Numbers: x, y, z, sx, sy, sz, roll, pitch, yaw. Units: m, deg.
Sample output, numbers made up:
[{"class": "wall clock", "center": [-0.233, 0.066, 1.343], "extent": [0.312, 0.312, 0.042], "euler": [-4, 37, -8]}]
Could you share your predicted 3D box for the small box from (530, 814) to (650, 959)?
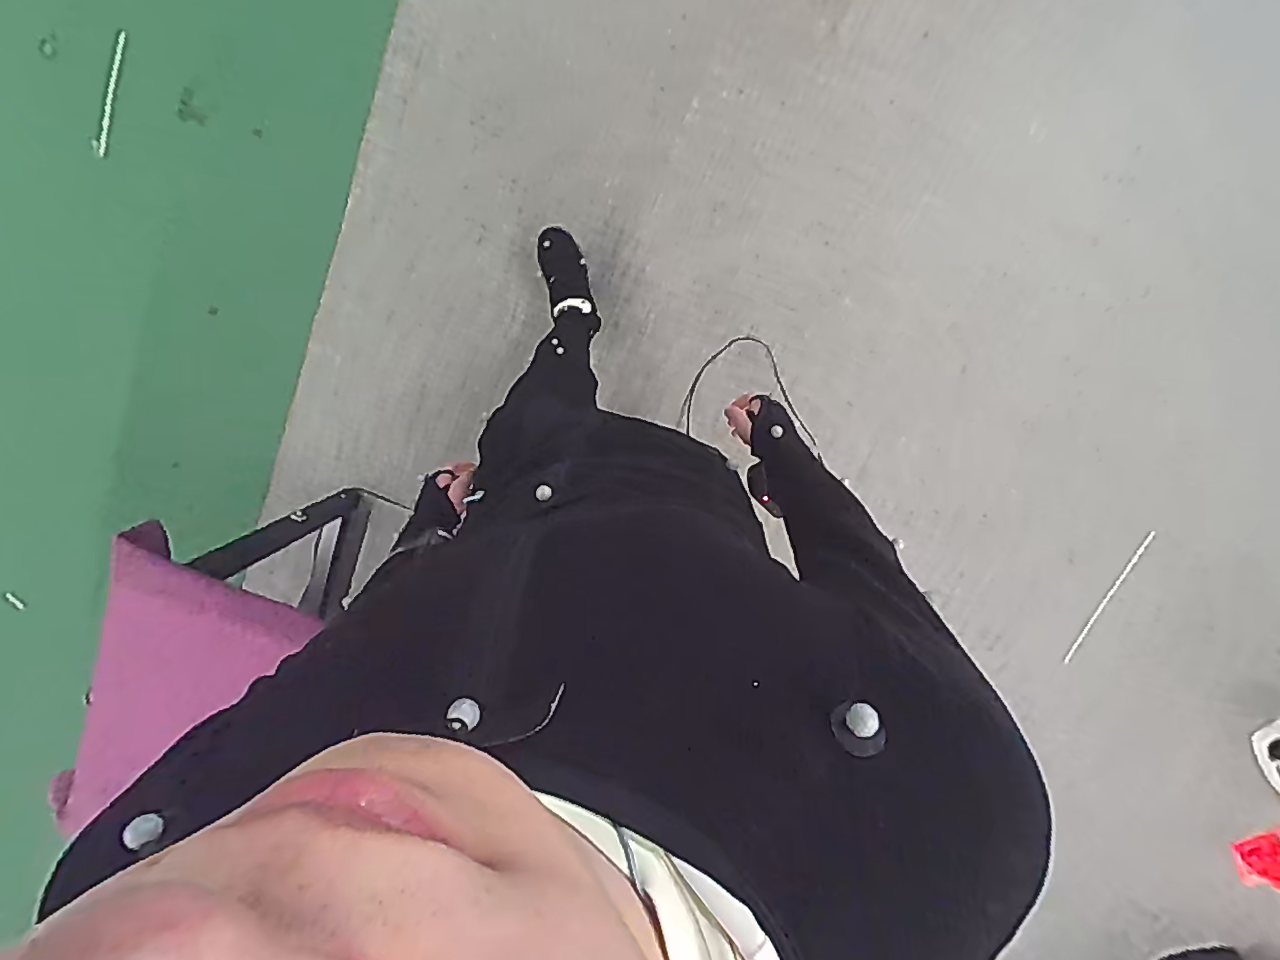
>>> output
[{"class": "small box", "center": [-0.082, 0.762, 0.984], "extent": [0.168, 0.176, 0.179], "euler": [19, 103, -3]}]
